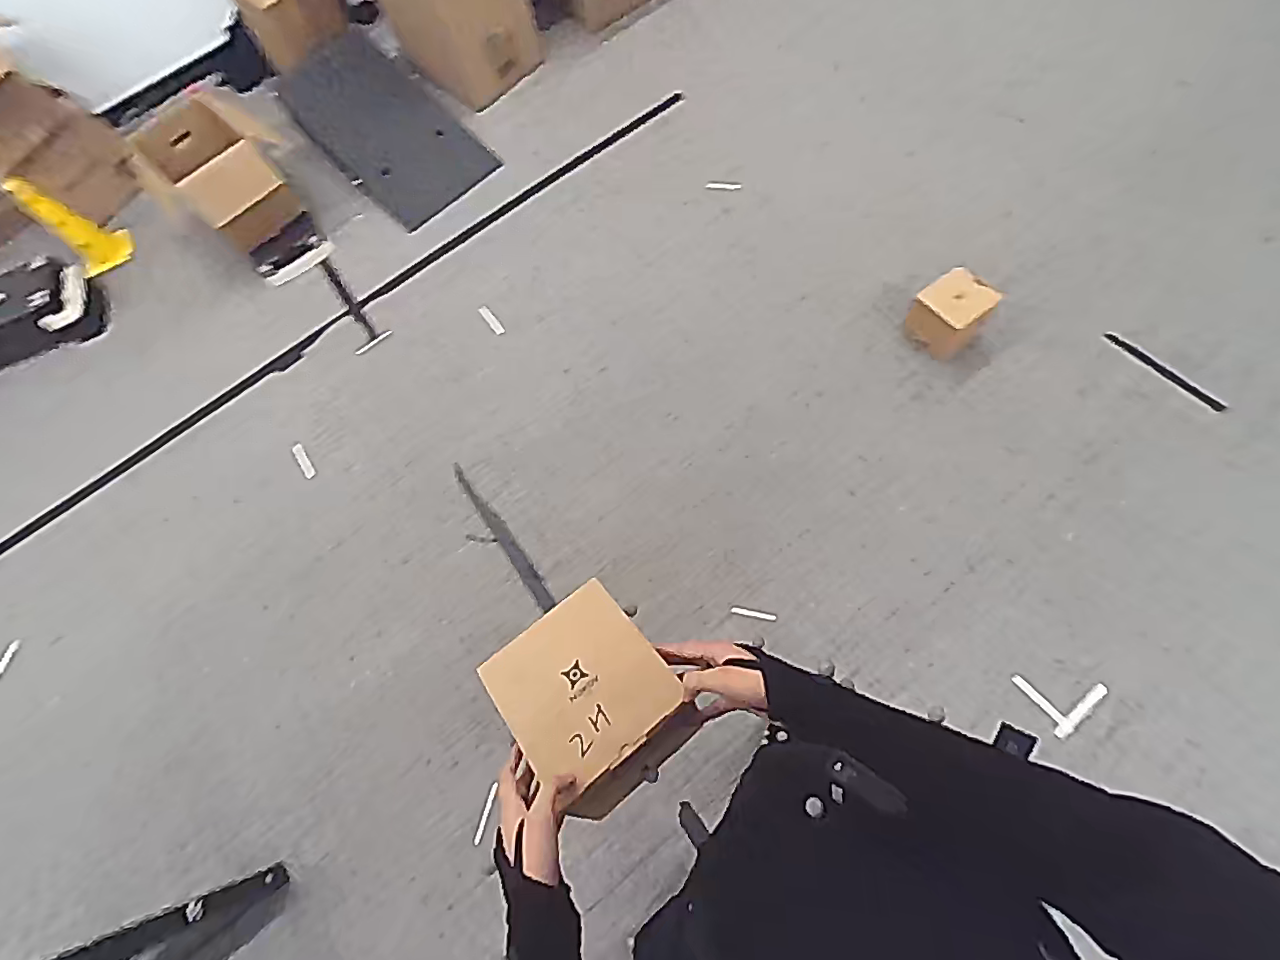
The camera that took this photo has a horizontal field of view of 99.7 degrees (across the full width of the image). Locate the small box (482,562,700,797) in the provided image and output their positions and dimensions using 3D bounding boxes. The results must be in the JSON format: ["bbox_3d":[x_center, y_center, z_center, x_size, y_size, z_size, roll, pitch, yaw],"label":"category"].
[{"bbox_3d":[-0.049,0.235,0.629,0.168,0.176,0.179,-36,56,-13],"label":"small box"}]

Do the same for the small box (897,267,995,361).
[{"bbox_3d":[0.924,-0.504,1.654,0.179,0.176,0.168,-35,67,-7],"label":"small box"}]
